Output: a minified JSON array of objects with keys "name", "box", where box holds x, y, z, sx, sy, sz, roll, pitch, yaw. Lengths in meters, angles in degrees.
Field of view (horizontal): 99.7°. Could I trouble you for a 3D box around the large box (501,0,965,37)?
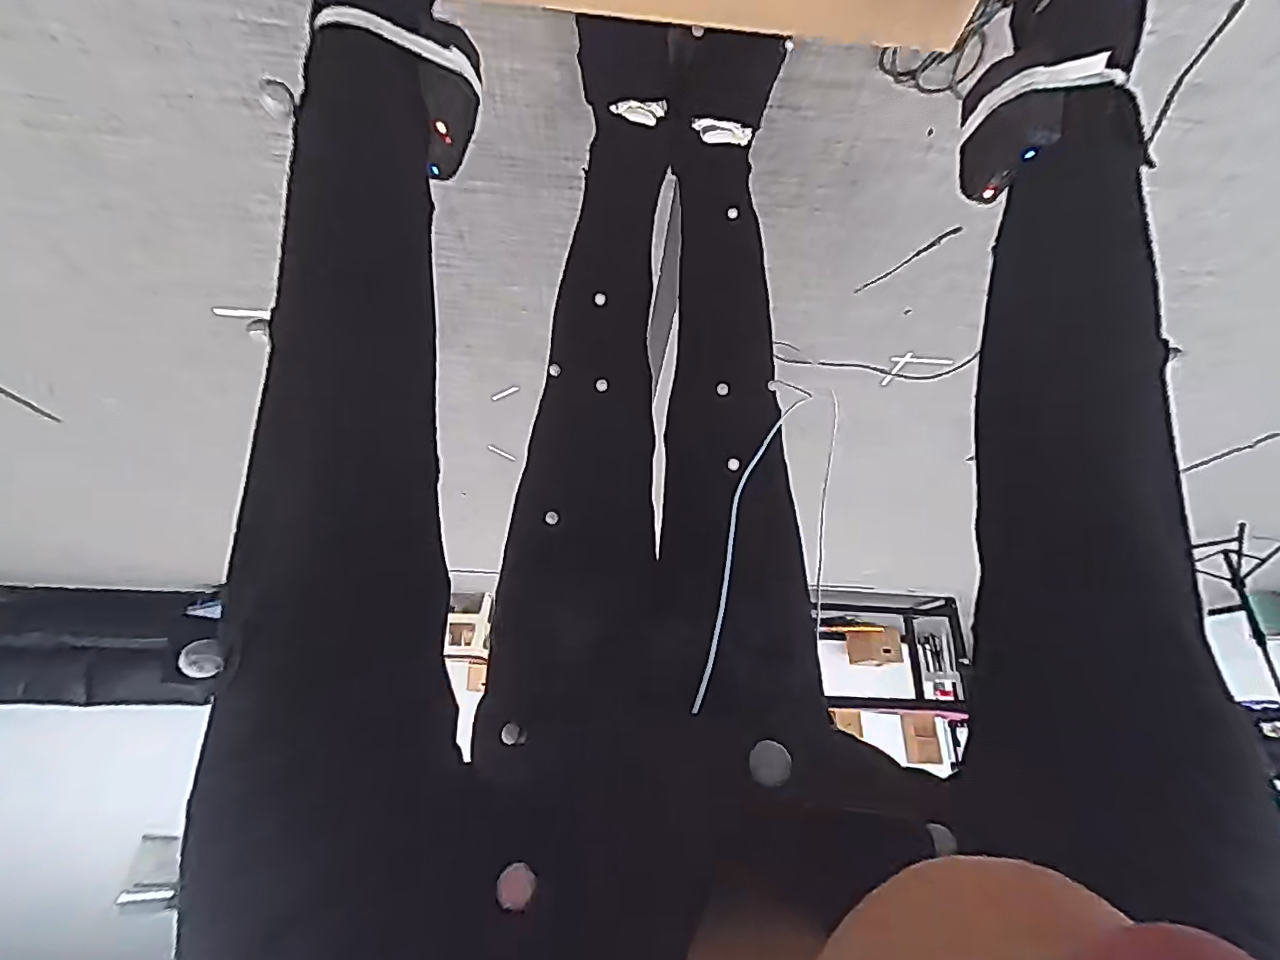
[{"name":"large box","box":[0.067,-0.570,0.355,0.408,0.320,0.320,3,158,-4]}]
